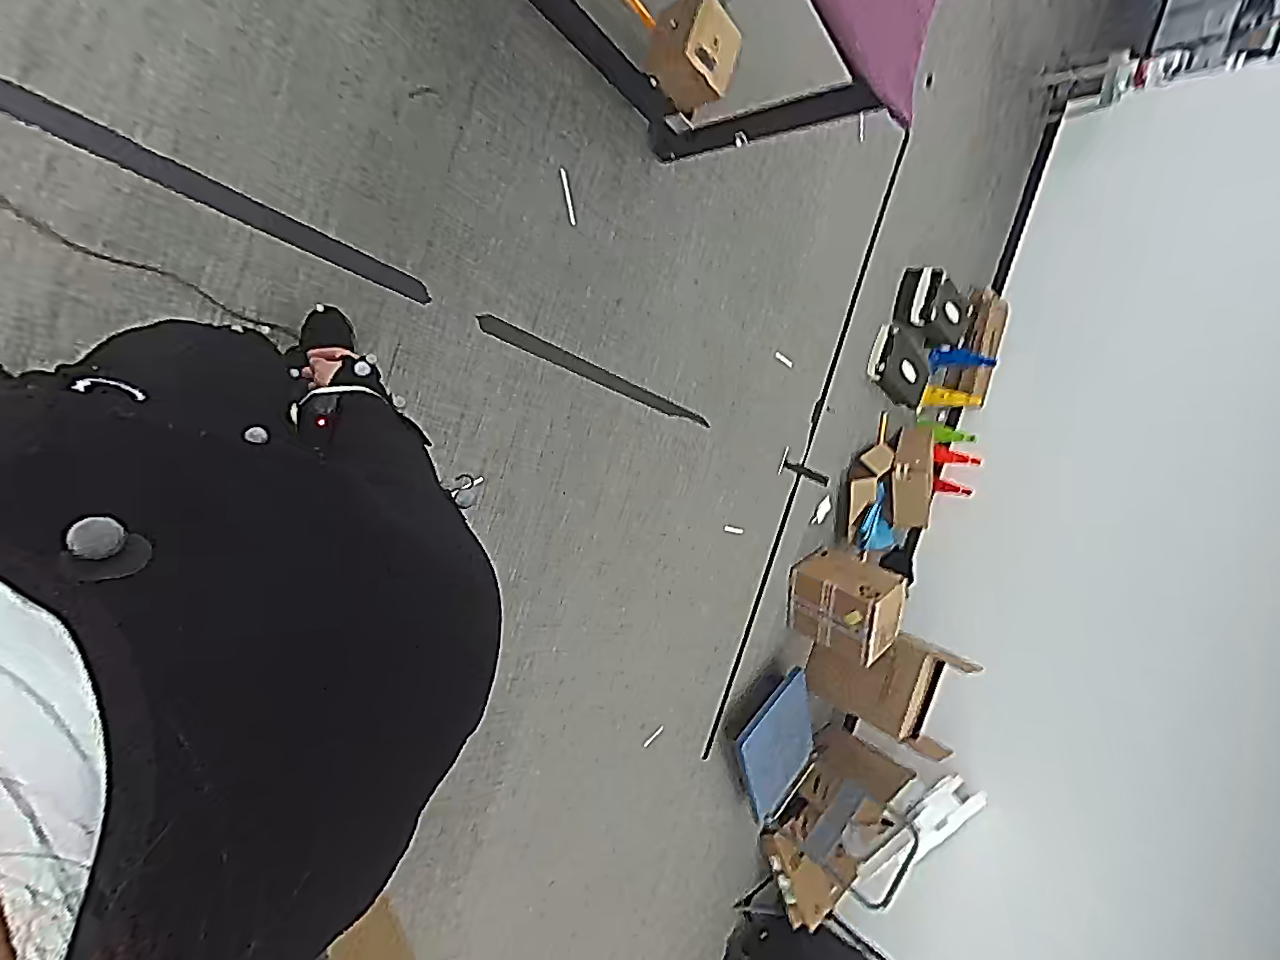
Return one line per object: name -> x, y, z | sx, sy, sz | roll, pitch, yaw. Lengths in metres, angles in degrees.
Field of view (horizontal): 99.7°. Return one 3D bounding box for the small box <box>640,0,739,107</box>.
small box -> 0.124, -1.123, 1.414 | 0.168, 0.176, 0.179 | 16, 92, -46
